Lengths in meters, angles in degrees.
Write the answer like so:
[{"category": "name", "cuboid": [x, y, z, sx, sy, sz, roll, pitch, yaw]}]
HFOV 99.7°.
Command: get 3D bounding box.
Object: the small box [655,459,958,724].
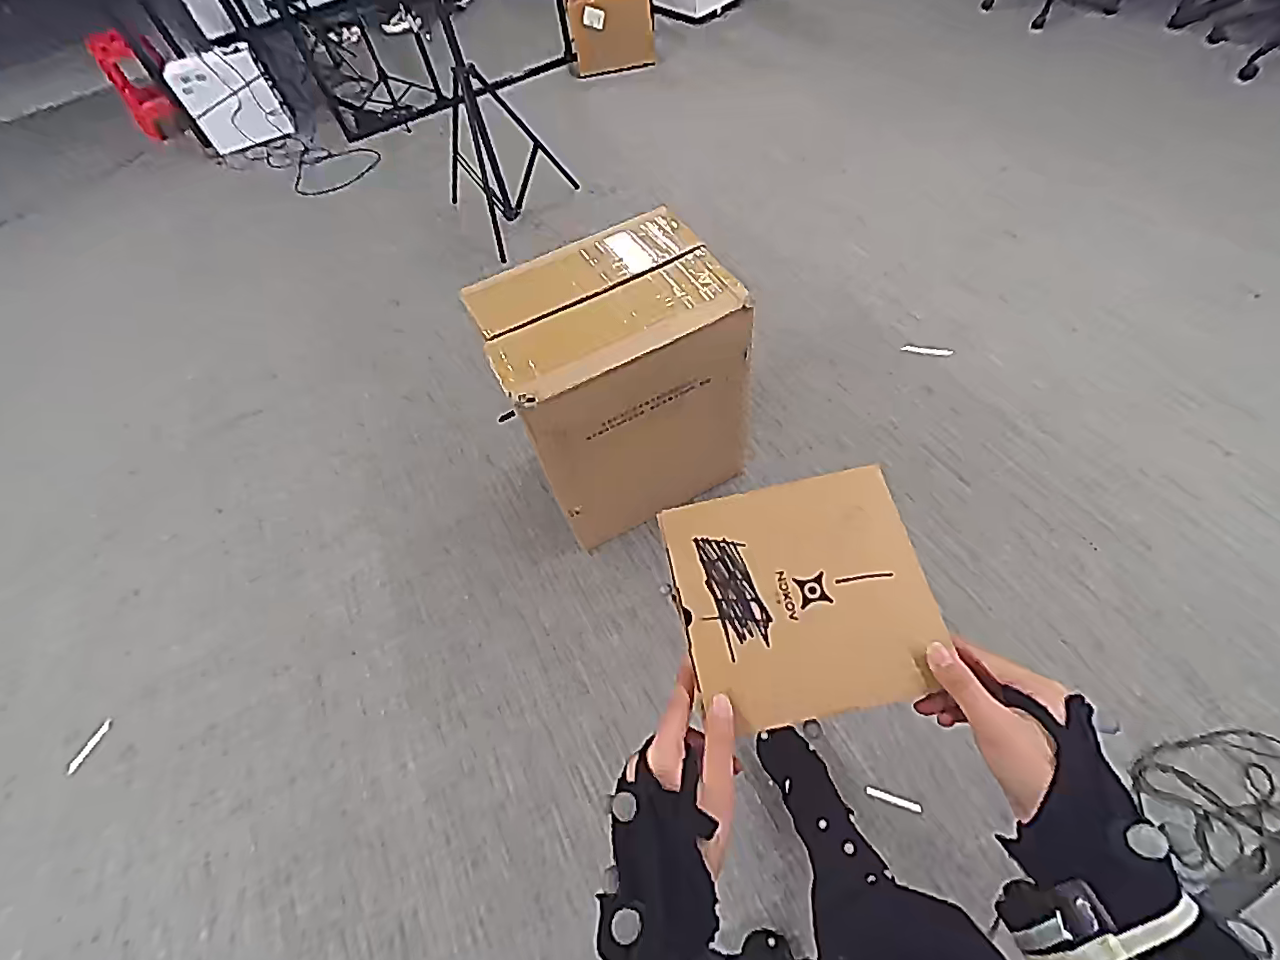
[{"category": "small box", "cuboid": [0.119, 0.106, 0.460, 0.179, 0.176, 0.168, -12, 66, 0]}]
